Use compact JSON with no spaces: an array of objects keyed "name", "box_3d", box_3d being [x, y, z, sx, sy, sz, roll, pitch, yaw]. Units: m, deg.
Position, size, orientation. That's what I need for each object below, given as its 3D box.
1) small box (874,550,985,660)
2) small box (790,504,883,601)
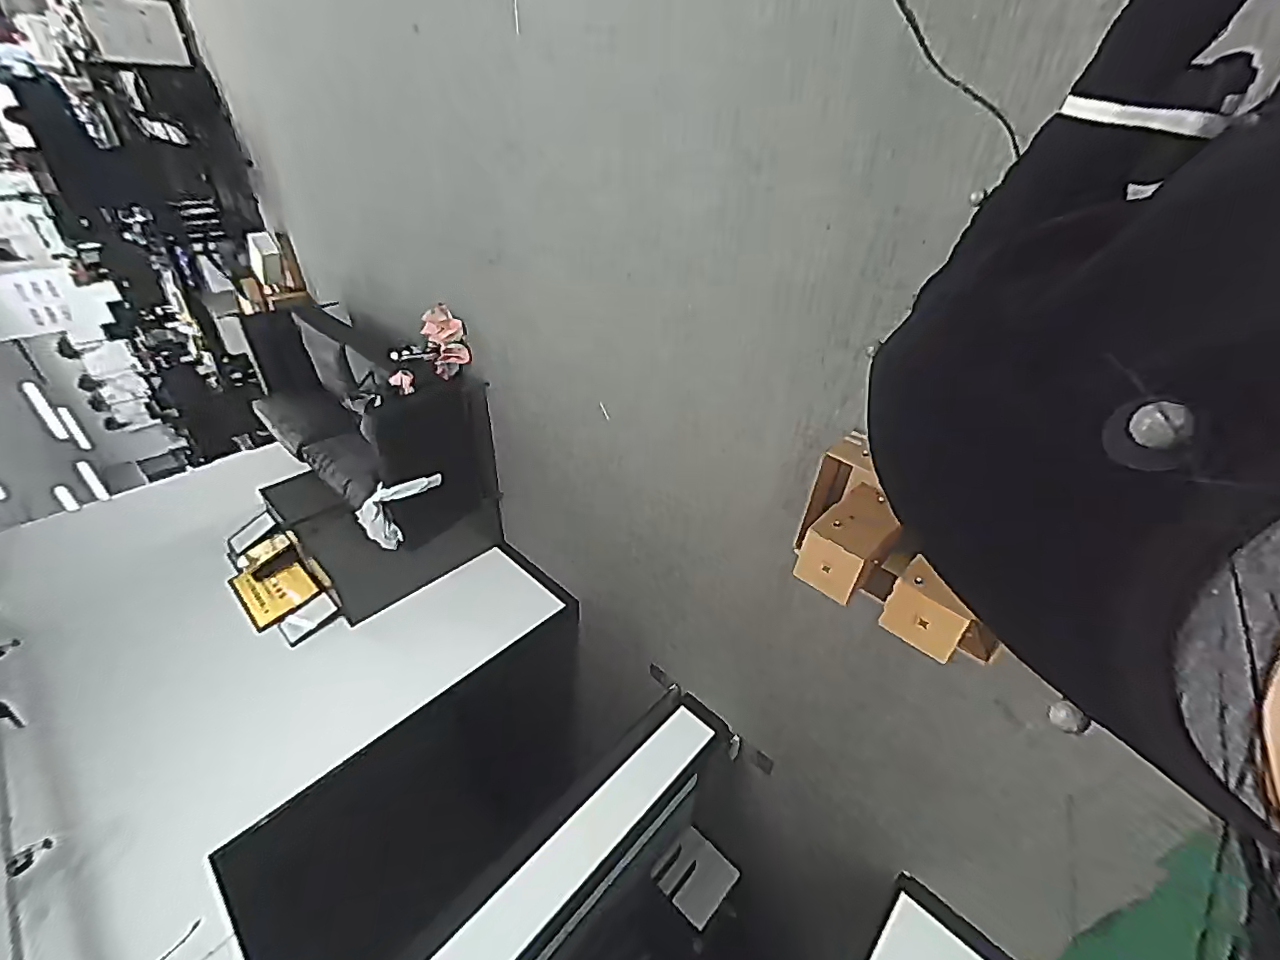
[{"name":"small box","box_3d":[0.731,0.306,1.364,0.179,0.176,0.168,32,134,34]},{"name":"small box","box_3d":[0.548,0.194,1.502,0.168,0.176,0.179,33,135,31]}]
